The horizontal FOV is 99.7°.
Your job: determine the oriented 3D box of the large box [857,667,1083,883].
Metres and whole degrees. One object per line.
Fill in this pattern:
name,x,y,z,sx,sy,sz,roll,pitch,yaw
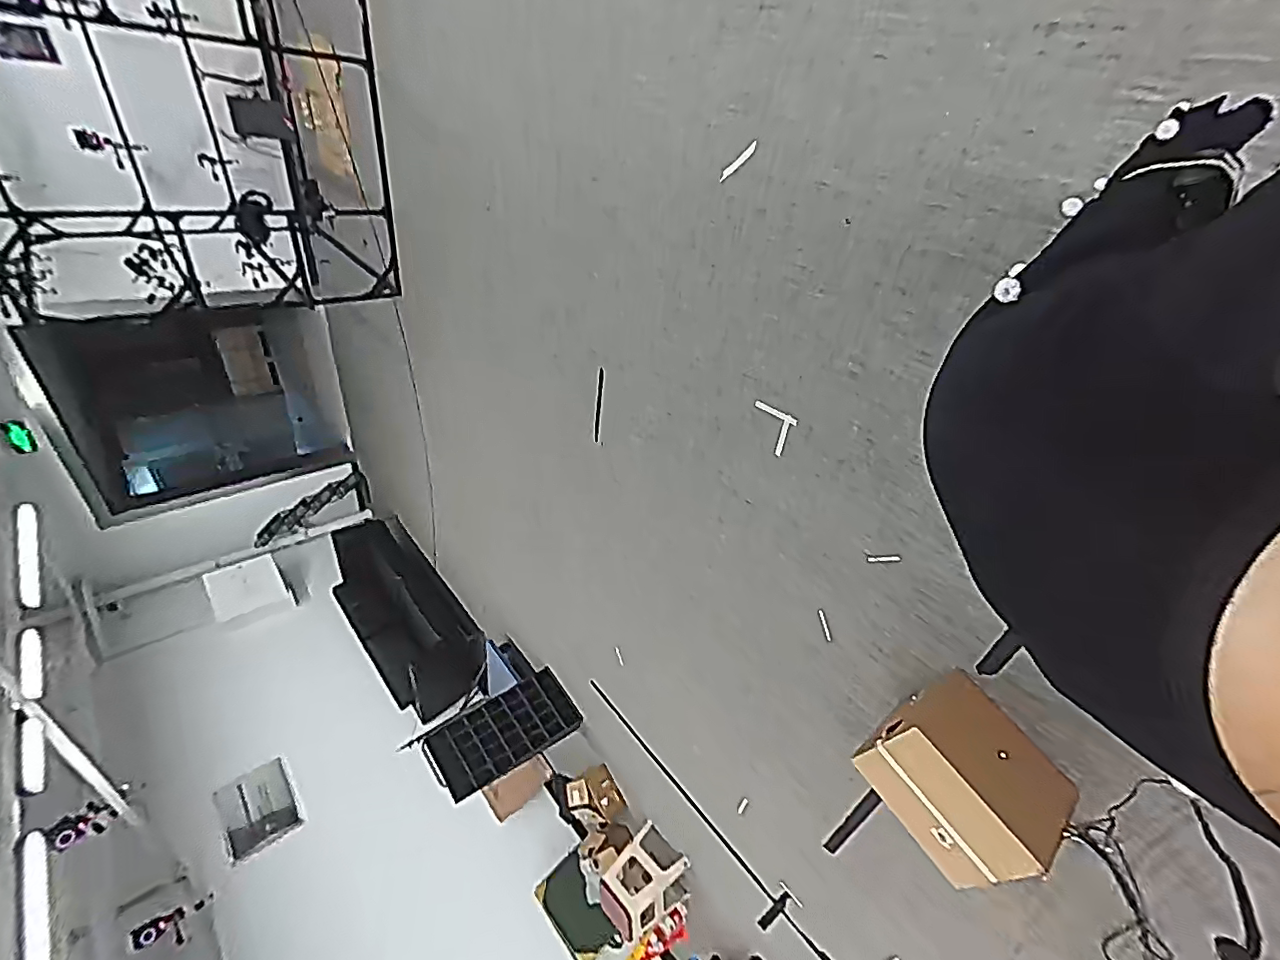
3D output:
large box,0.931,0.831,1.554,0.408,0.320,0.320,49,140,23
